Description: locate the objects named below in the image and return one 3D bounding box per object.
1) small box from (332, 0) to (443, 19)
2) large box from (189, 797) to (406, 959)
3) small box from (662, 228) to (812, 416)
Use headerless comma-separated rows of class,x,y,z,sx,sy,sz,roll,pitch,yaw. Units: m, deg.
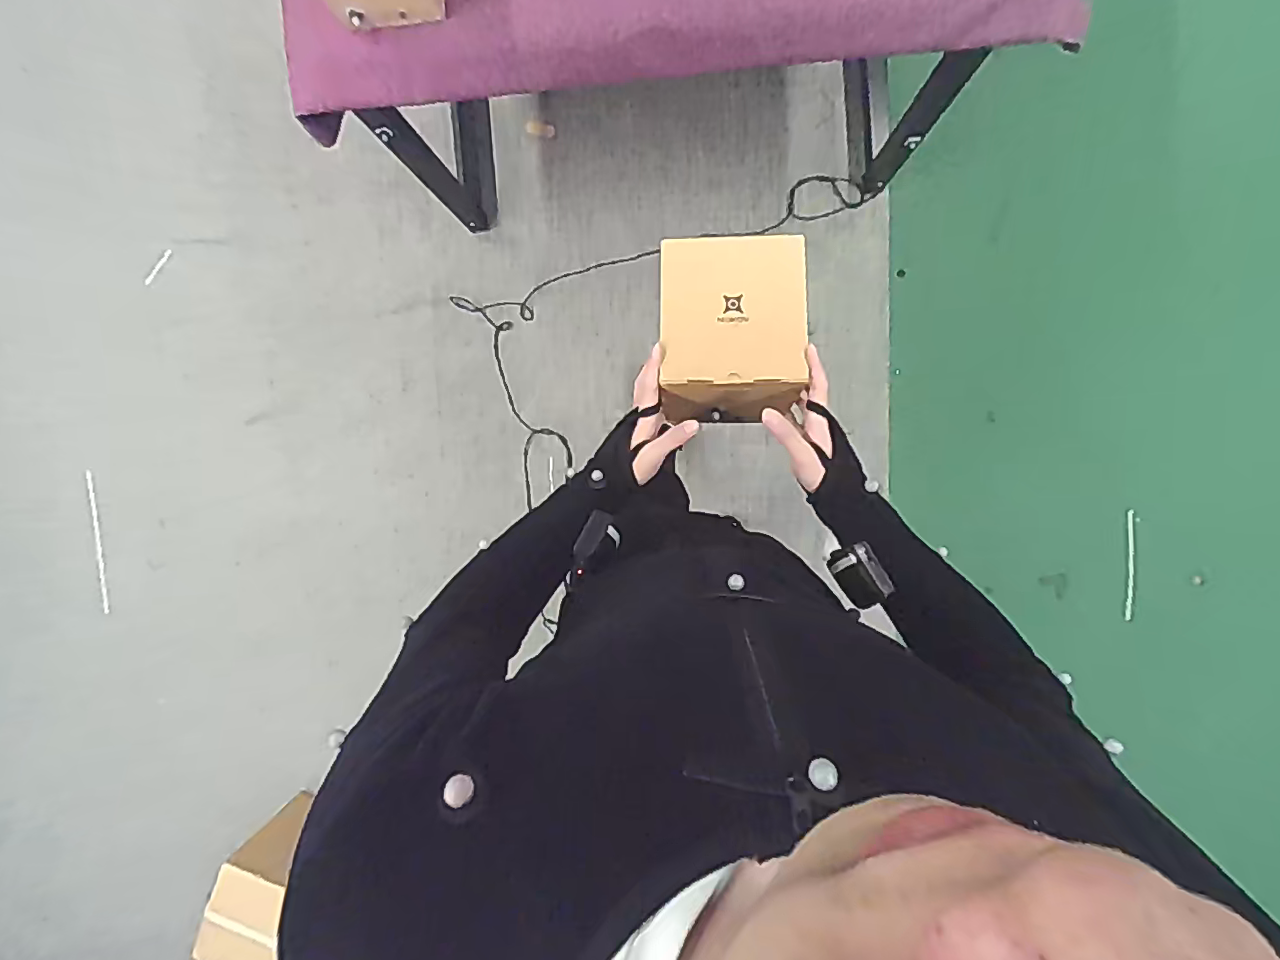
small box,-0.394,-0.805,0.770,0.168,0.176,0.179,-2,93,4
large box,-0.997,1.241,1.614,0.408,0.320,0.320,21,95,1
small box,0.111,-0.188,0.681,0.168,0.176,0.179,0,82,4
